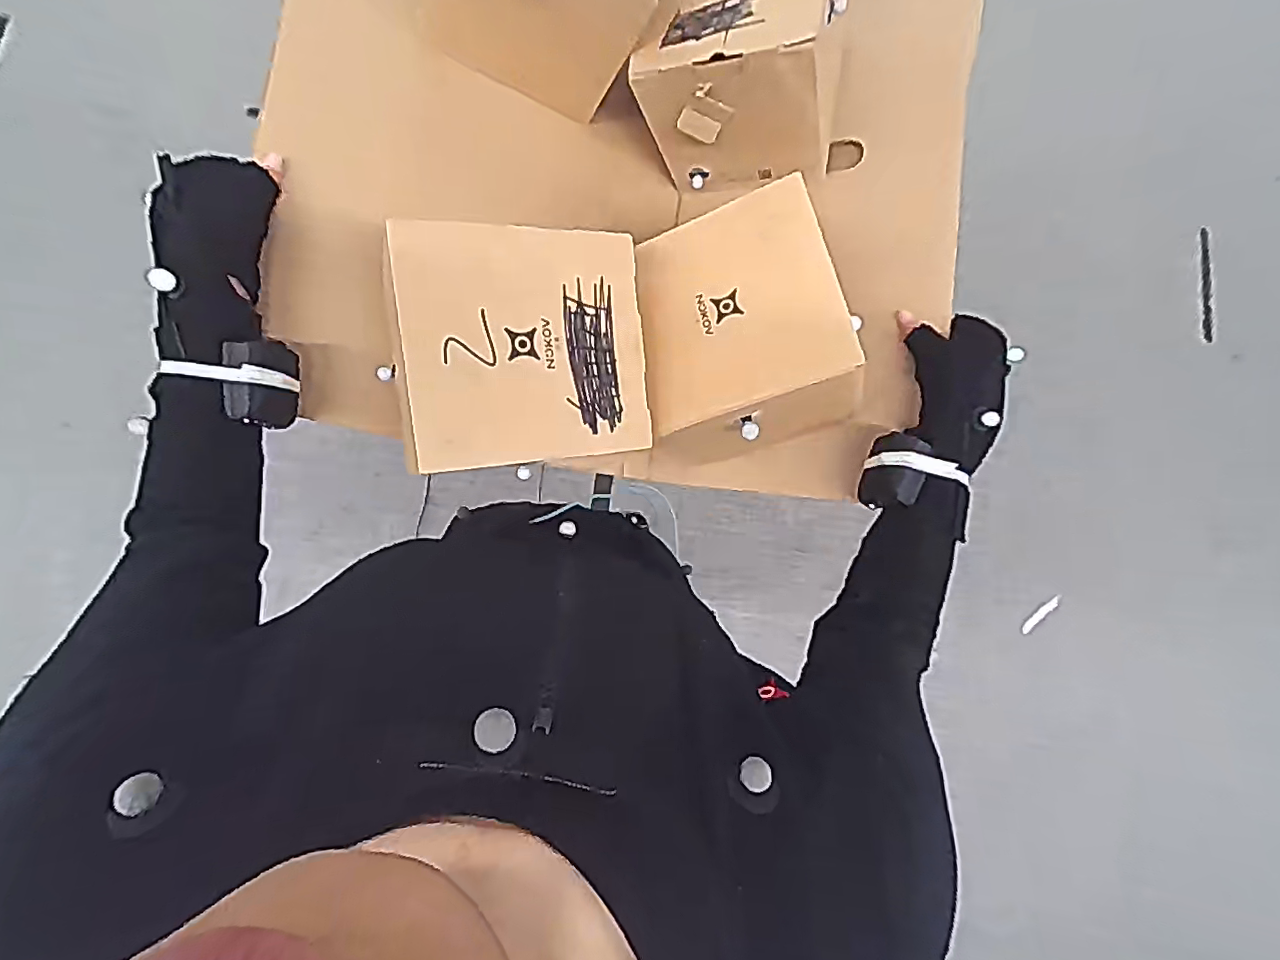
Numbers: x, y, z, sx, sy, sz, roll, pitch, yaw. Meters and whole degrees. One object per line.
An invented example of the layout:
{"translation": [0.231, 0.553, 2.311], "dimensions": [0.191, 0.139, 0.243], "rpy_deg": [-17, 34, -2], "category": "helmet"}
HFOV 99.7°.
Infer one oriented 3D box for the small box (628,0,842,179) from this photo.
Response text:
{"translation": [0.105, -0.429, 0.540], "dimensions": [0.168, 0.176, 0.179], "rpy_deg": [7, 83, 22], "category": "small box"}
